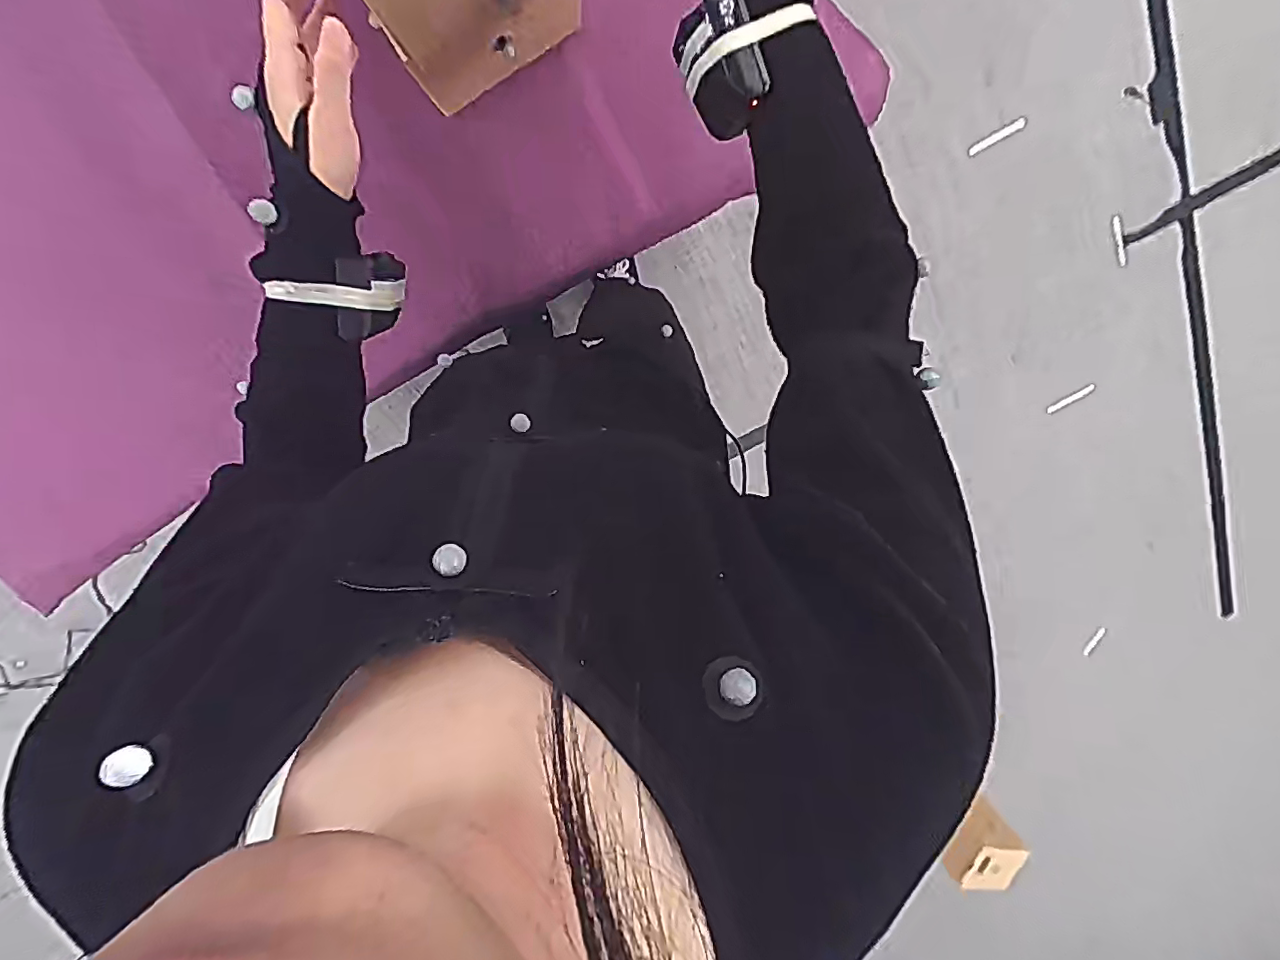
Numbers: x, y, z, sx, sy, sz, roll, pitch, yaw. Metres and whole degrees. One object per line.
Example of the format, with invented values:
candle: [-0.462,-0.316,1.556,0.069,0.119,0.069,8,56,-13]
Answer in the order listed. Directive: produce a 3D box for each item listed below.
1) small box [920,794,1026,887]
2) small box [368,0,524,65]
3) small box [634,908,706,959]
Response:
small box: [0.992,1.081,1.629,0.179,0.176,0.168,15,107,-15]
small box: [-0.140,-0.414,0.333,0.179,0.176,0.168,-33,110,5]
small box: [0.090,1.520,1.732,0.168,0.176,0.179,20,106,-15]
